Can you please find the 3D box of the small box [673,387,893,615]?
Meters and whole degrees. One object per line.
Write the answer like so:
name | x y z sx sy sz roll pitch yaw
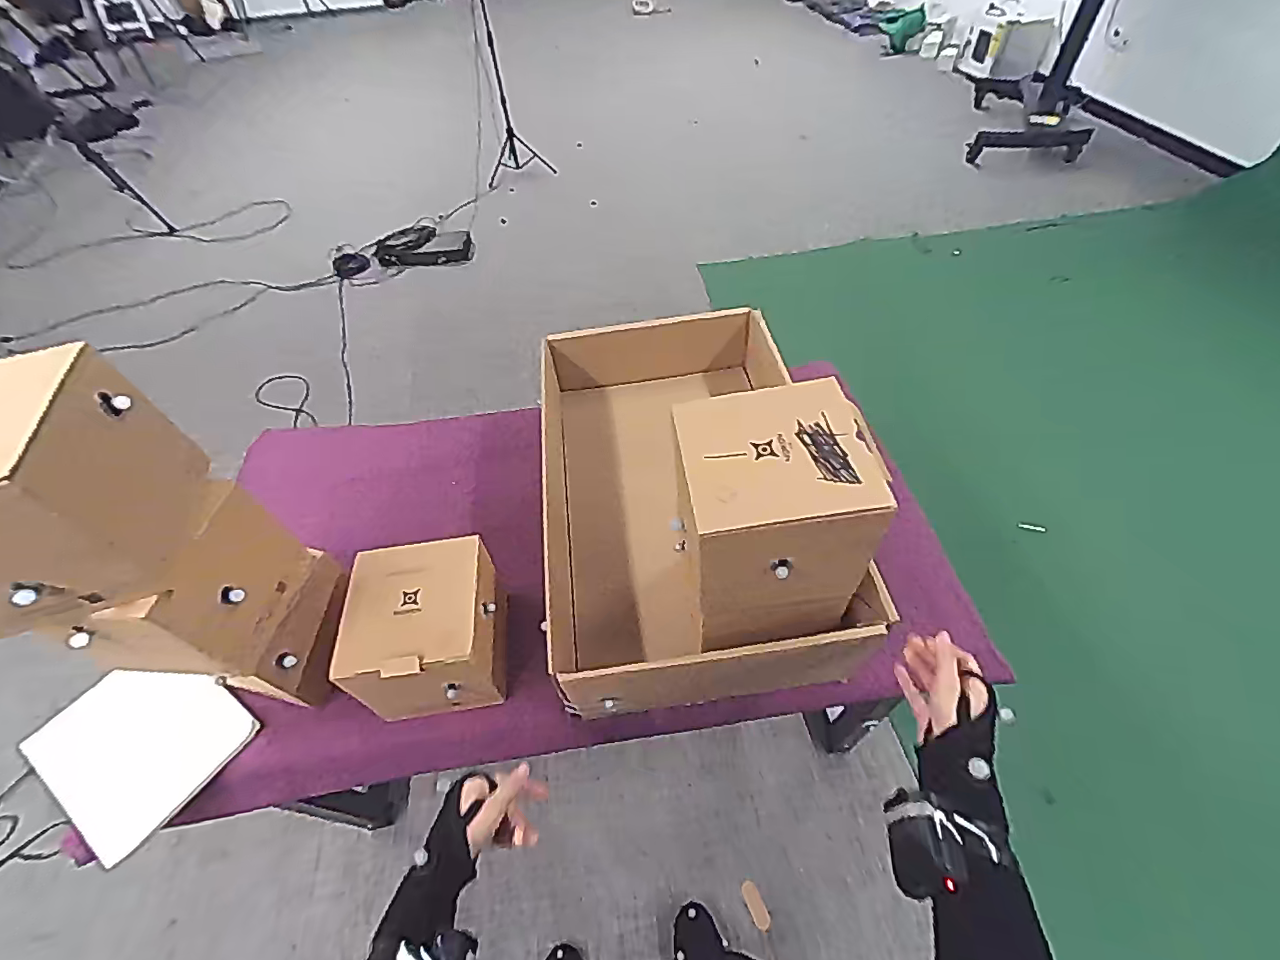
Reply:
small box | 0.133 0.027 0.576 0.179 0.176 0.168 -8 51 1

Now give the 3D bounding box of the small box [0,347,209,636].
small box | -0.542 0.012 0.493 0.168 0.176 0.179 -16 52 -8

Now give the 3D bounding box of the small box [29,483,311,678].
small box | -0.527 0.116 0.620 0.179 0.176 0.168 1 51 6
